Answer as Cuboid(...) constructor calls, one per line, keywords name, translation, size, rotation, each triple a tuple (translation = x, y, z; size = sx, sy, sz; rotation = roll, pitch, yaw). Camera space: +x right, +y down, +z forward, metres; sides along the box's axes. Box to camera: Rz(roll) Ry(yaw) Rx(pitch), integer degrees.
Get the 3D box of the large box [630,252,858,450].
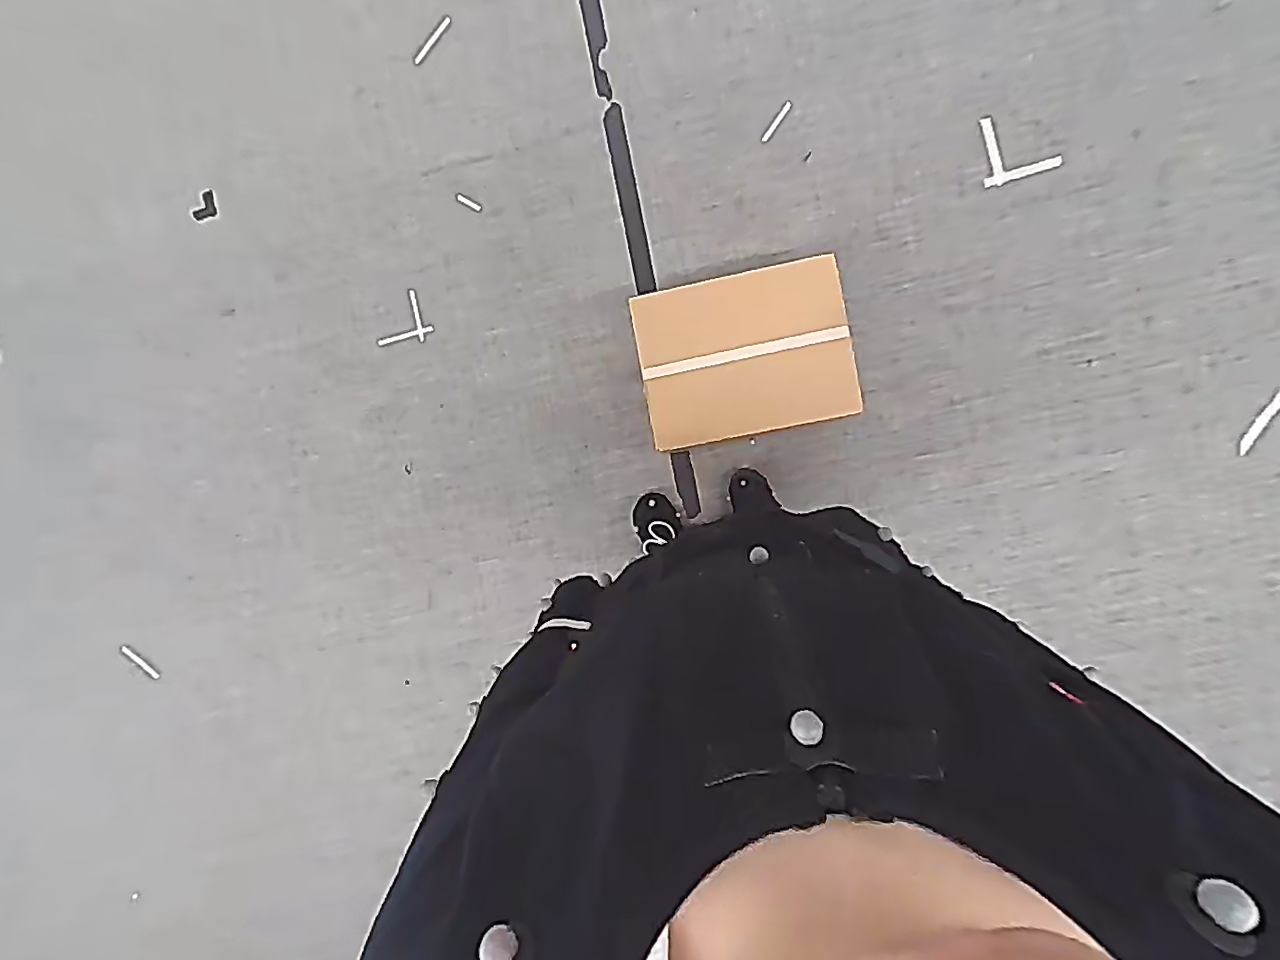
Cuboid(name="large box", translation=(0.214, -0.257, 1.209), size=(0.408, 0.320, 0.320), rotation=(-11, 92, 6))
